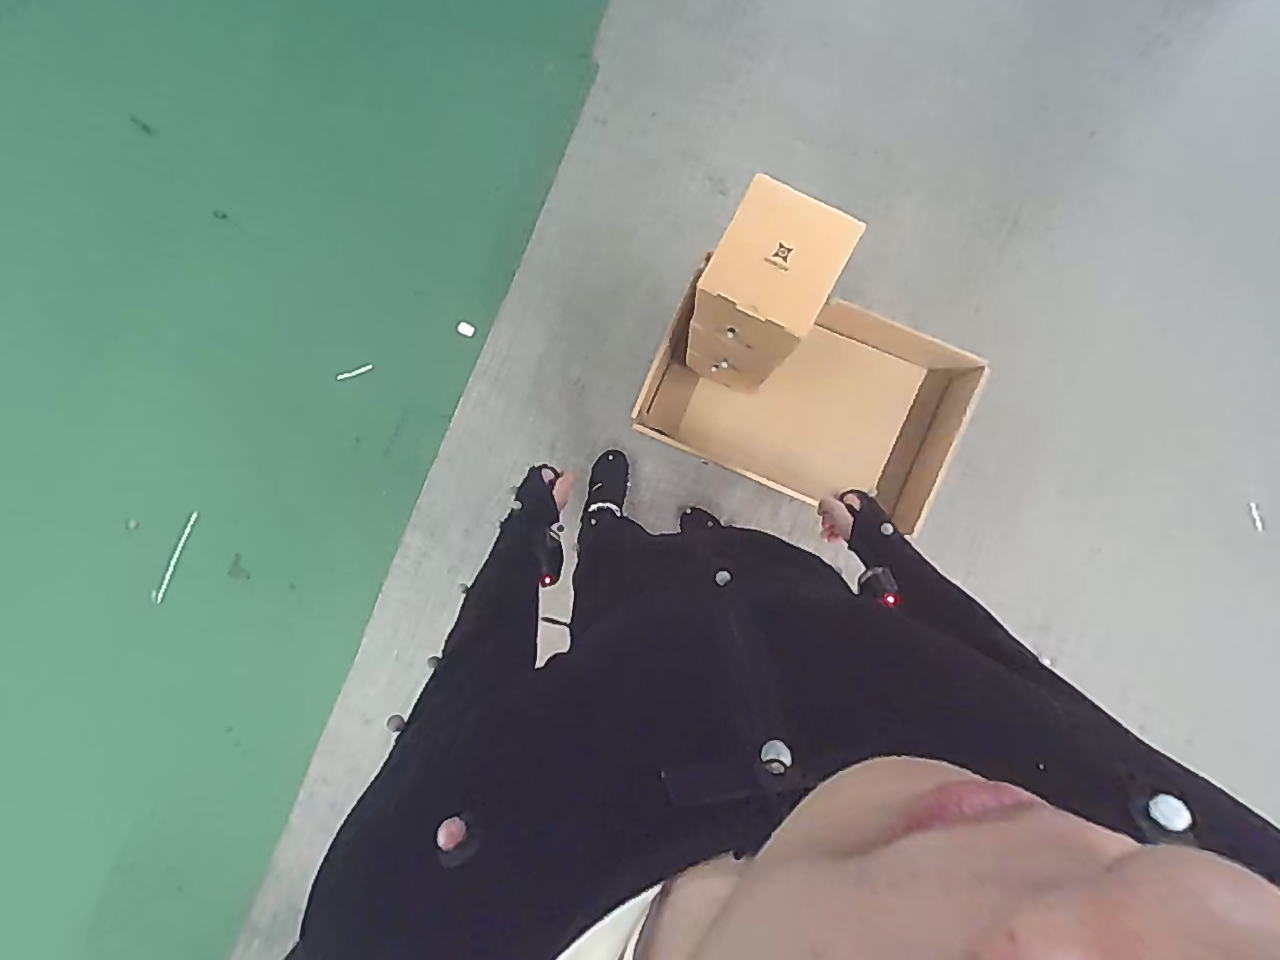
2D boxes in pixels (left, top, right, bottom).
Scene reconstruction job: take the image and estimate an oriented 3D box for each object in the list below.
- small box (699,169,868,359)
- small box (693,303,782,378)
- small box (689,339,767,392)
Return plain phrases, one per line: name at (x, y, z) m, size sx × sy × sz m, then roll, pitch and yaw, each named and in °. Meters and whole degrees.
small box at (0.197, -0.306, 0.803) m, size 0.168 × 0.176 × 0.179 m, roll 29°, pitch 92°, yaw 3°
small box at (0.201, -0.305, 0.966) m, size 0.168 × 0.176 × 0.179 m, roll 27°, pitch 91°, yaw 3°
small box at (0.208, -0.304, 1.129) m, size 0.168 × 0.176 × 0.179 m, roll 25°, pitch 91°, yaw 3°
